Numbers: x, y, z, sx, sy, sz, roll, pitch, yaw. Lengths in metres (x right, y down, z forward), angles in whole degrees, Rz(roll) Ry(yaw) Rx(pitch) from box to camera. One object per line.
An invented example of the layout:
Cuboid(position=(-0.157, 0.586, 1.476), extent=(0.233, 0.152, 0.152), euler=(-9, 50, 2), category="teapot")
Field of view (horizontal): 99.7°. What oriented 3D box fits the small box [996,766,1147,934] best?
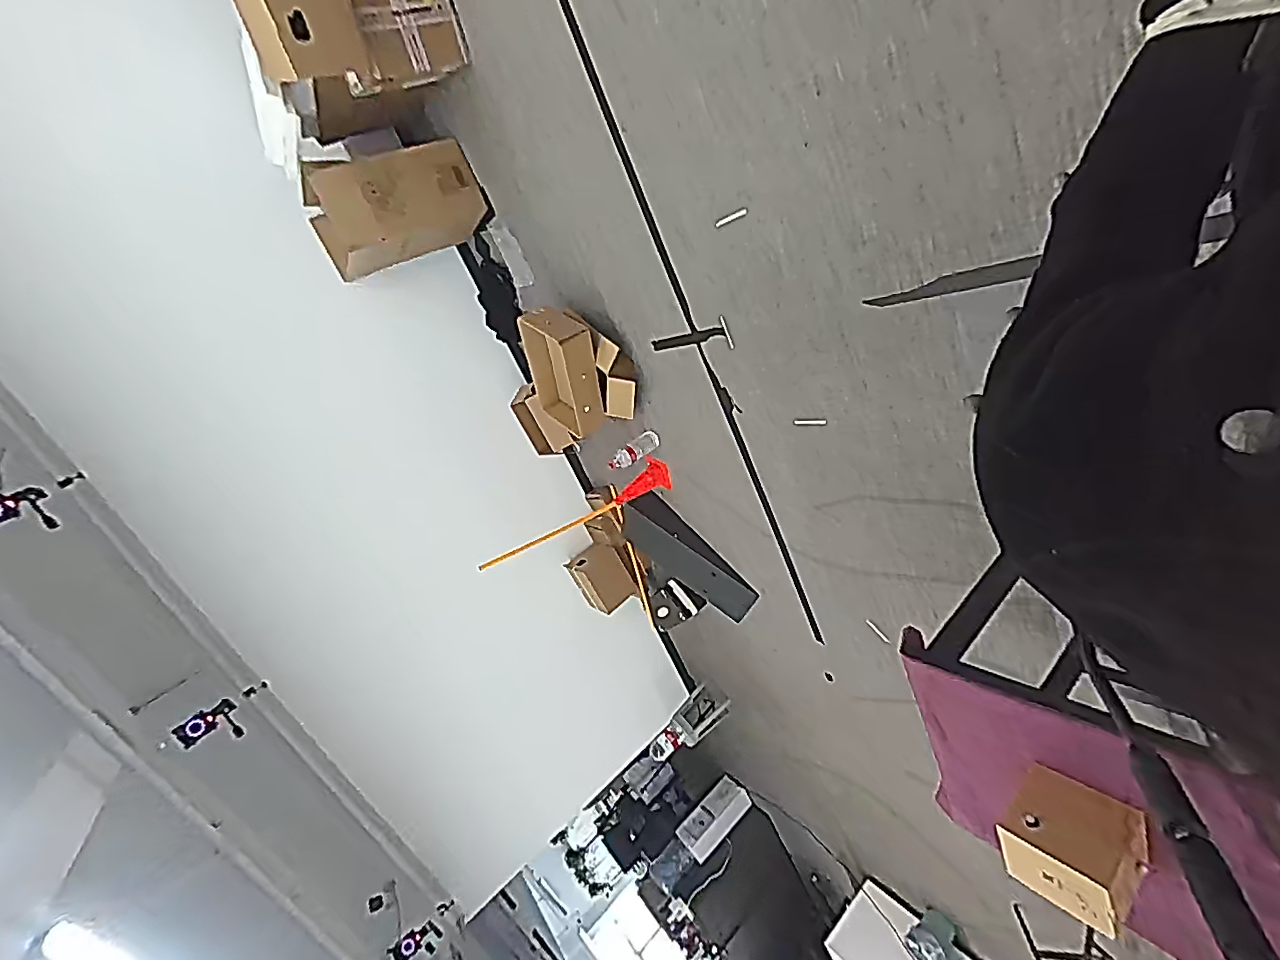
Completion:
Cuboid(position=(0.822, 0.687, 1.032), extent=(0.179, 0.176, 0.168), euler=(11, 131, 56), category="small box")
